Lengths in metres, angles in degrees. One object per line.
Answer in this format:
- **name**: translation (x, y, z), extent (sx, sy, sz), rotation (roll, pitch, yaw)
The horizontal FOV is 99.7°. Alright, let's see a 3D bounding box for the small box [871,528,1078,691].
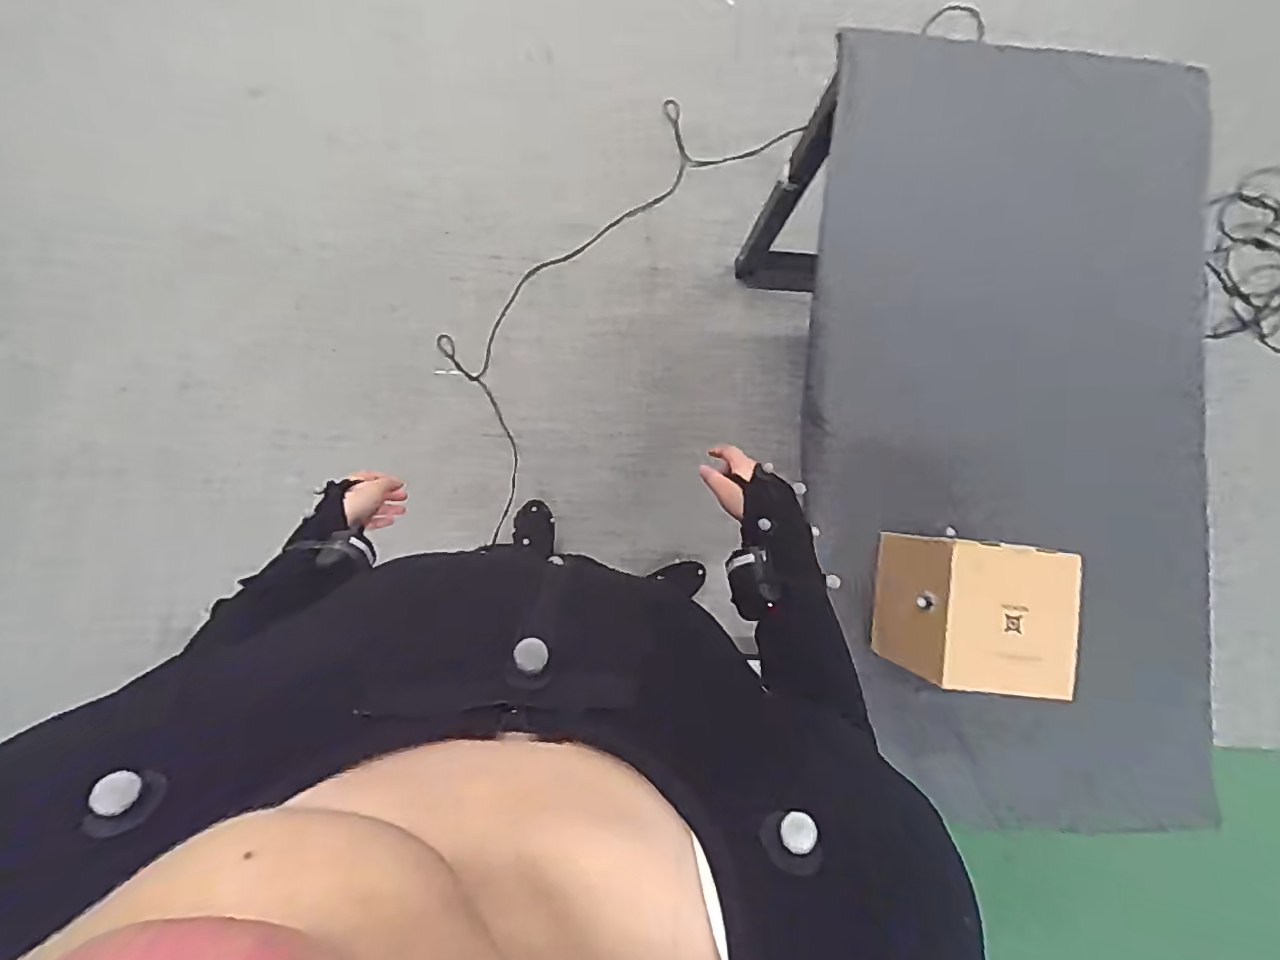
- **small box**: translation (0.428, 0.159, 0.716), extent (0.168, 0.176, 0.179), rotation (7, 87, -5)
